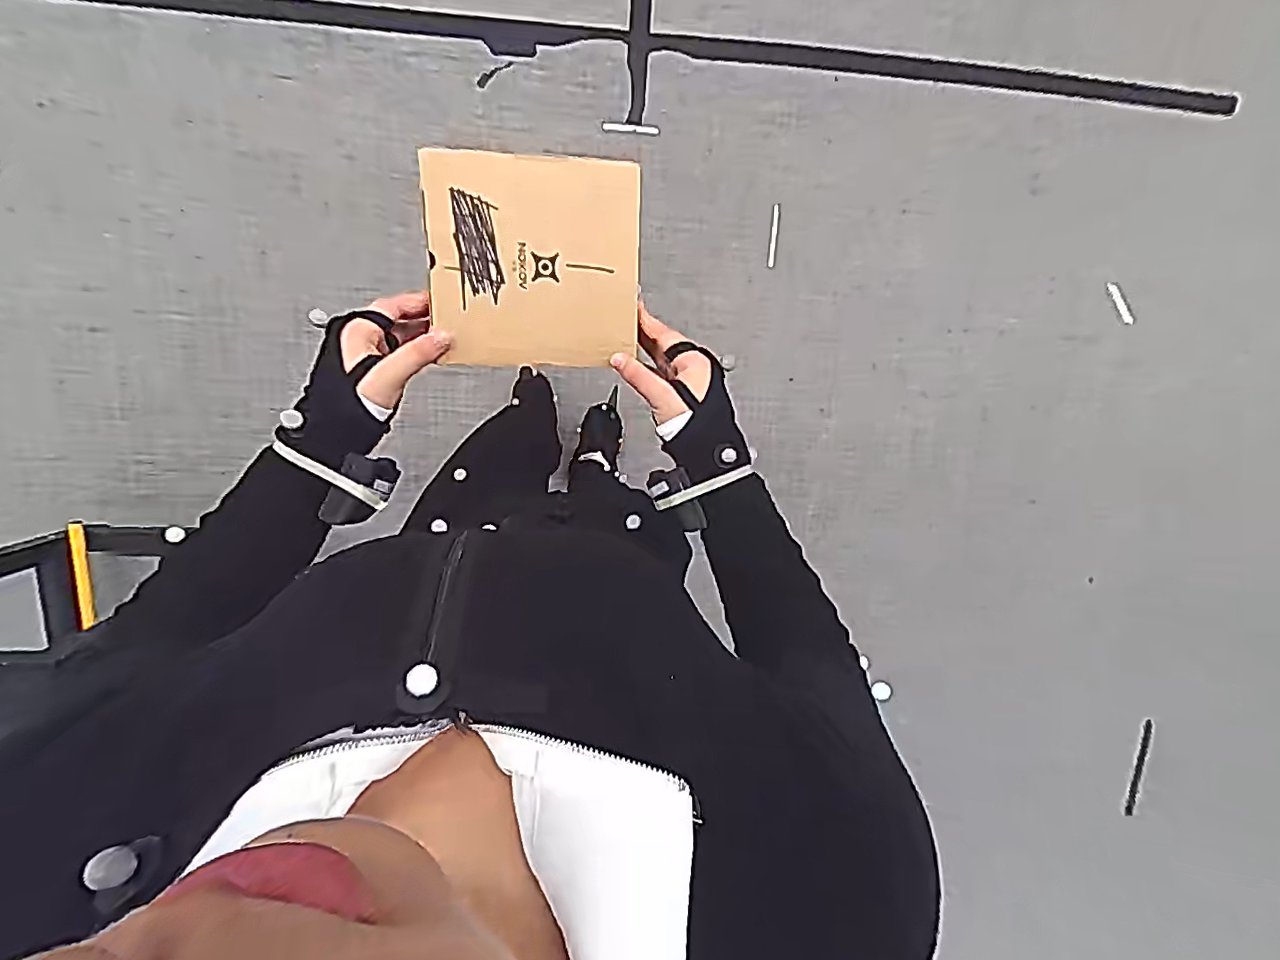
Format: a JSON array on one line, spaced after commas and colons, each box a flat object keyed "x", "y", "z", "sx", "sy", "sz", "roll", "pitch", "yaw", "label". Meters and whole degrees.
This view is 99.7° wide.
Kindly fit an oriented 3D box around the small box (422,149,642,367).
[{"x": -0.097, "y": -0.197, "z": 0.527, "sx": 0.179, "sy": 0.176, "sz": 0.168, "roll": -1, "pitch": 104, "yaw": -8, "label": "small box"}]
